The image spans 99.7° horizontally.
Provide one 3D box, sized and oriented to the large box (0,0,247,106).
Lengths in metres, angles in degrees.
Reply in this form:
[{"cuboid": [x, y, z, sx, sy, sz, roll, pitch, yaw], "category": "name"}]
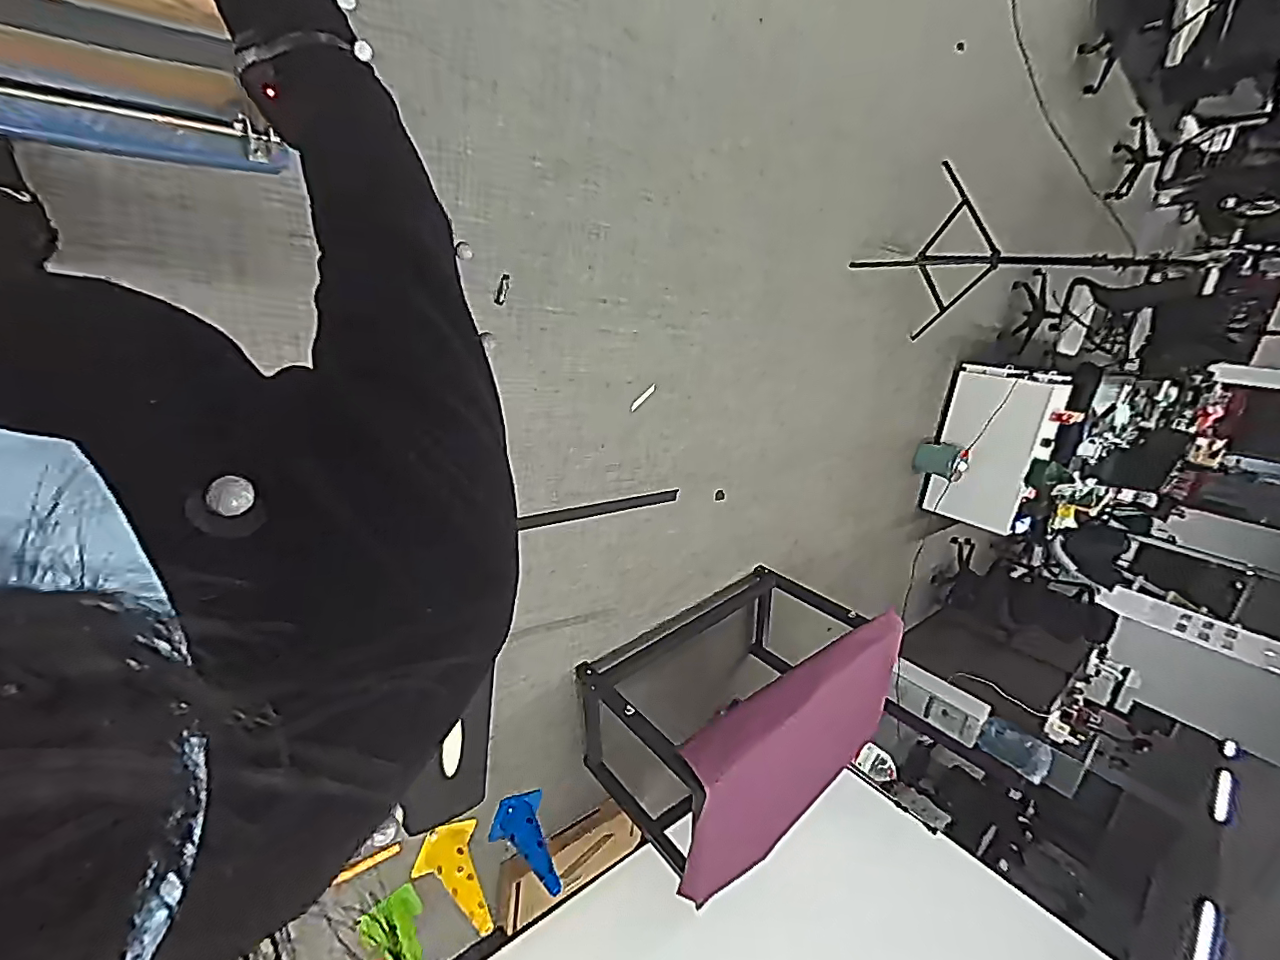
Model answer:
[{"cuboid": [-0.755, -0.698, 0.641, 0.408, 0.320, 0.320, -13, 115, -39], "category": "large box"}]
